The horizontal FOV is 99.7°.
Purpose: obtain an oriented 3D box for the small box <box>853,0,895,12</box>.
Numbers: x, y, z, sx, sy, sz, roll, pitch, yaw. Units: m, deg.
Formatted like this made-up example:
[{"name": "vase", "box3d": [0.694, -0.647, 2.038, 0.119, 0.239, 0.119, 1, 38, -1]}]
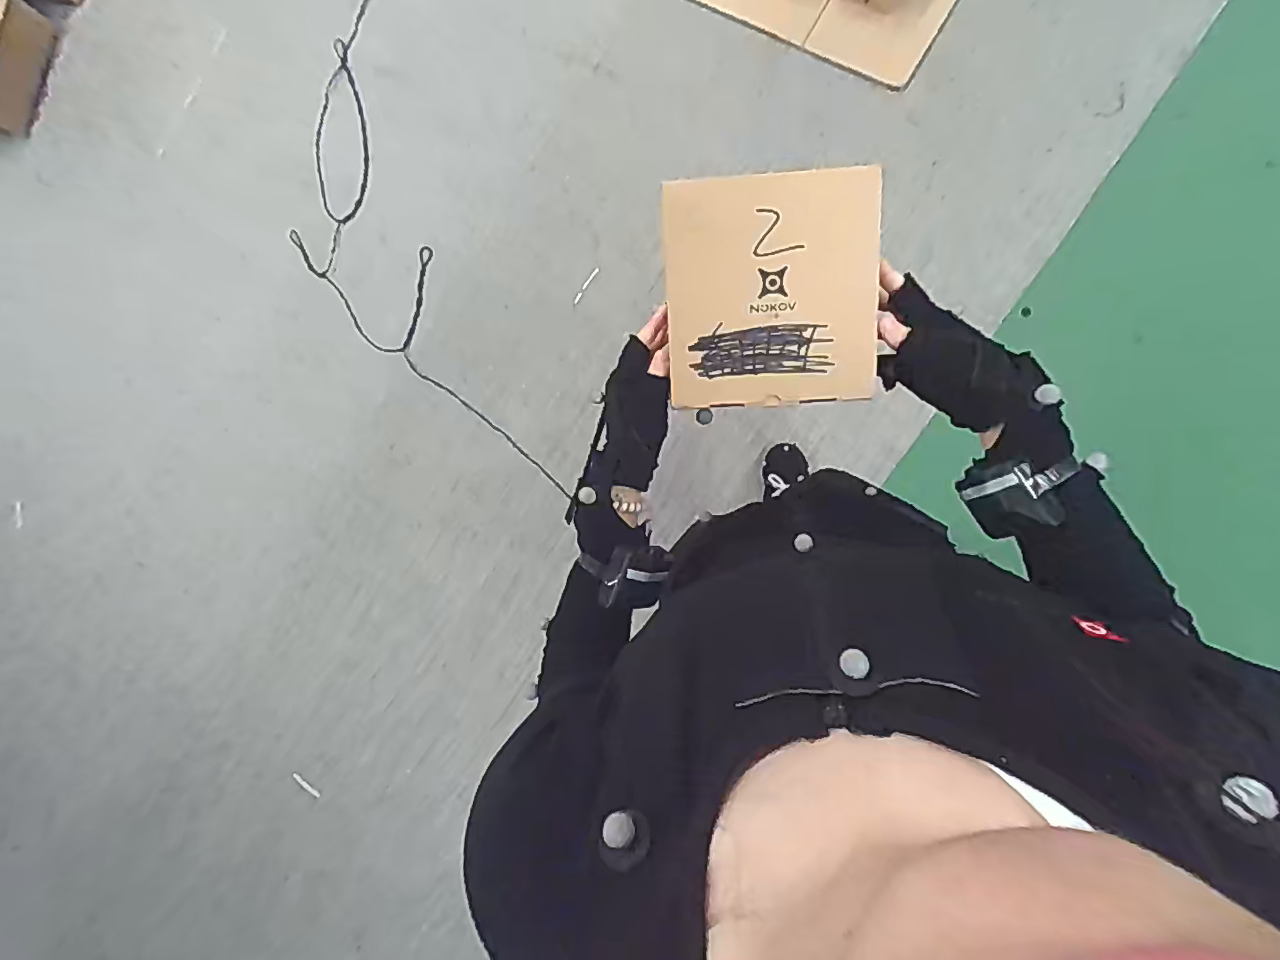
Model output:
[{"name": "small box", "box3d": [0.614, -1.345, 1.352, 0.168, 0.176, 0.179, 32, 94, 10]}]
